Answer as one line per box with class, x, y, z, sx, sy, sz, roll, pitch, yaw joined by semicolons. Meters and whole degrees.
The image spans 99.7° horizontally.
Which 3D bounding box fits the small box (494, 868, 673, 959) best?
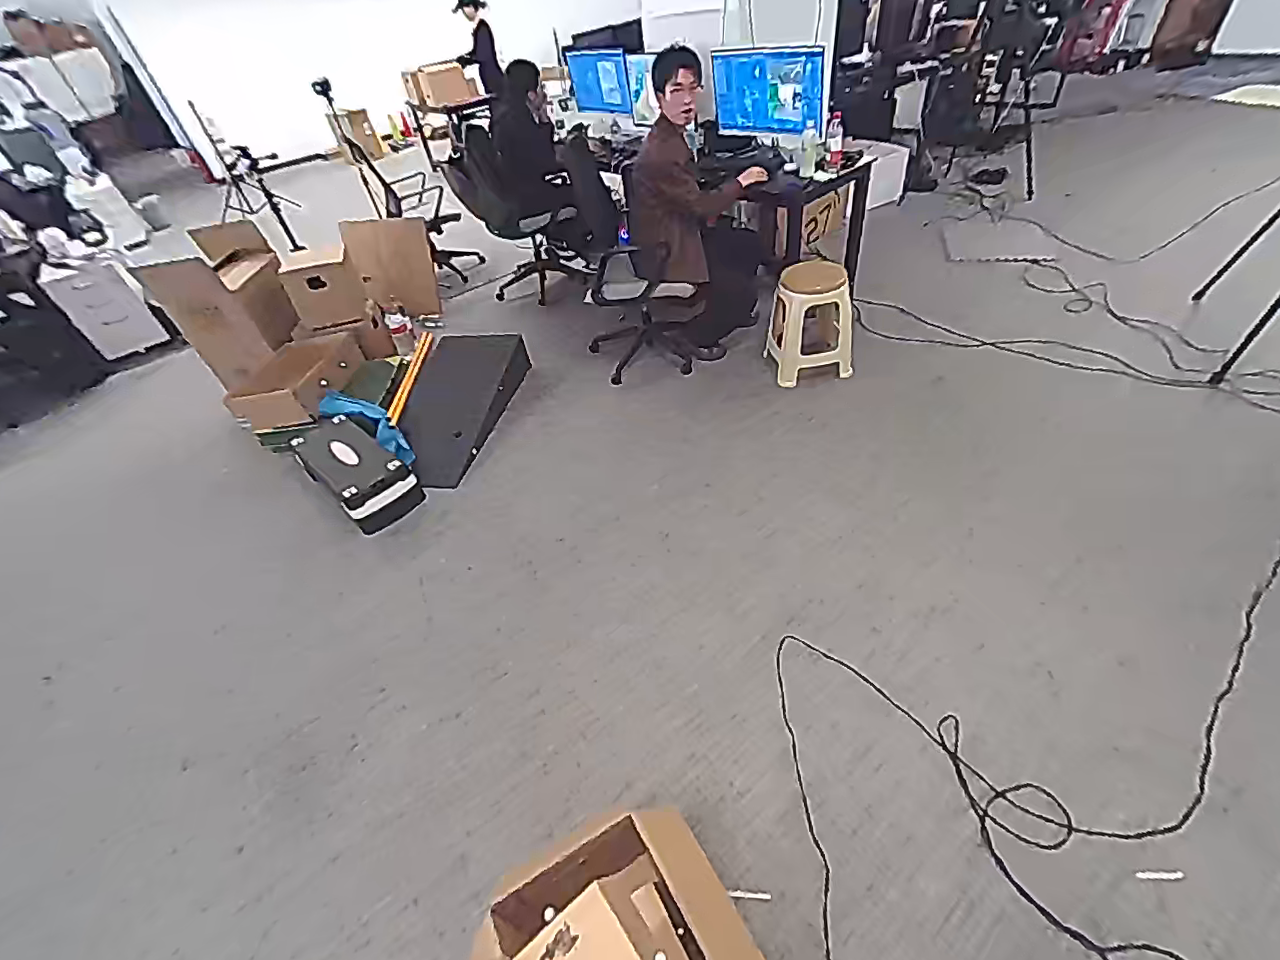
small box;-0.055;0.584;0.618;0.168;0.176;0.179;-35;60;-15
